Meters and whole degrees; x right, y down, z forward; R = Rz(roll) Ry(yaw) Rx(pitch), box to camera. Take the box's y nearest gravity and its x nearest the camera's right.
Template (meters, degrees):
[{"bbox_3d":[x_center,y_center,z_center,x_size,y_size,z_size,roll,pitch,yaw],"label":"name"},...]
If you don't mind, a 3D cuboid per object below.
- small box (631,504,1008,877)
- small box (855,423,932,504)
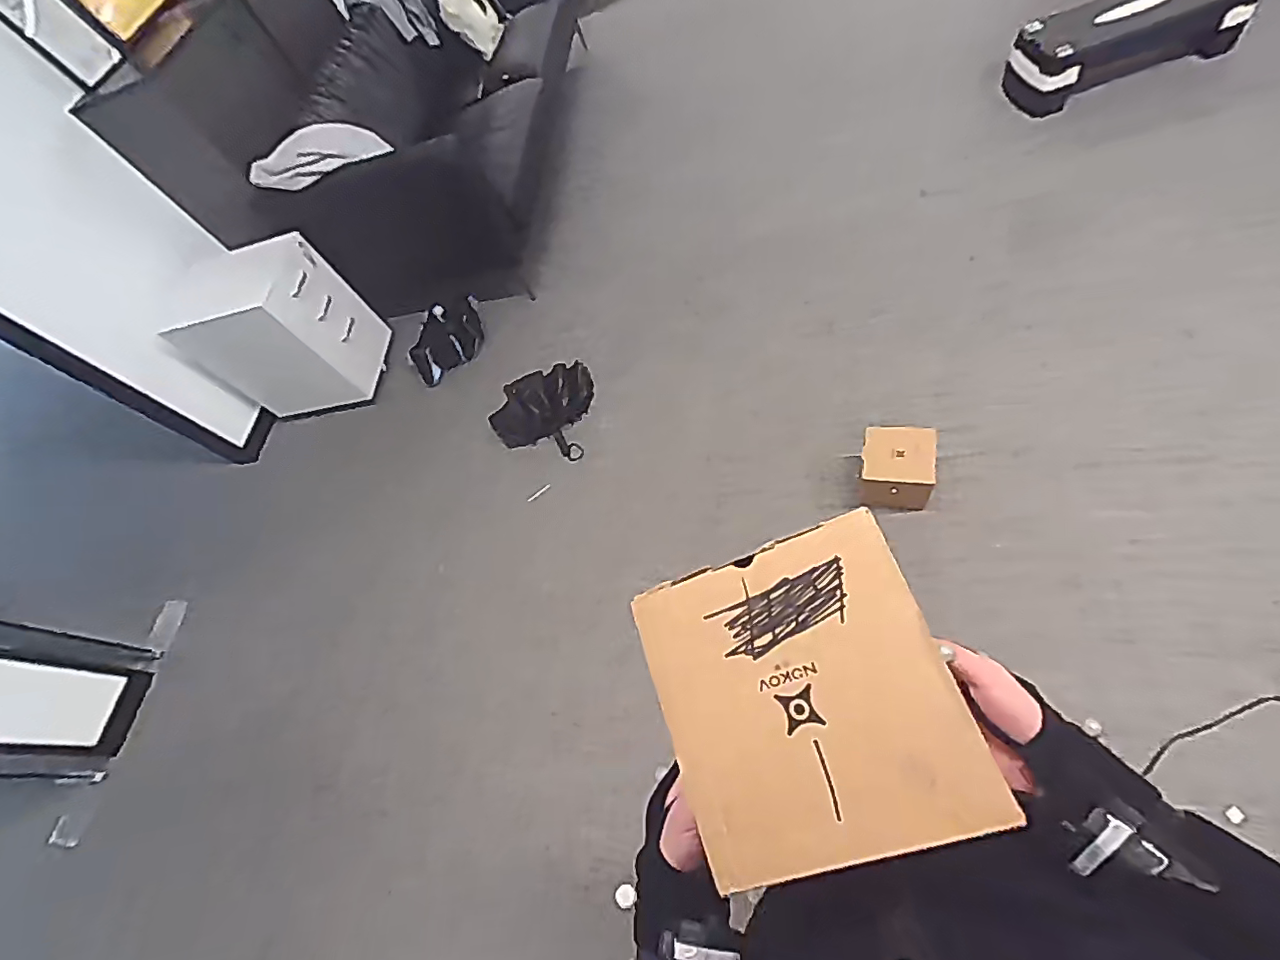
[{"bbox_3d":[0.116,0.140,0.389,0.168,0.176,0.179,-23,68,15],"label":"small box"},{"bbox_3d":[0.697,-0.043,1.497,0.179,0.176,0.168,5,66,20],"label":"small box"}]
